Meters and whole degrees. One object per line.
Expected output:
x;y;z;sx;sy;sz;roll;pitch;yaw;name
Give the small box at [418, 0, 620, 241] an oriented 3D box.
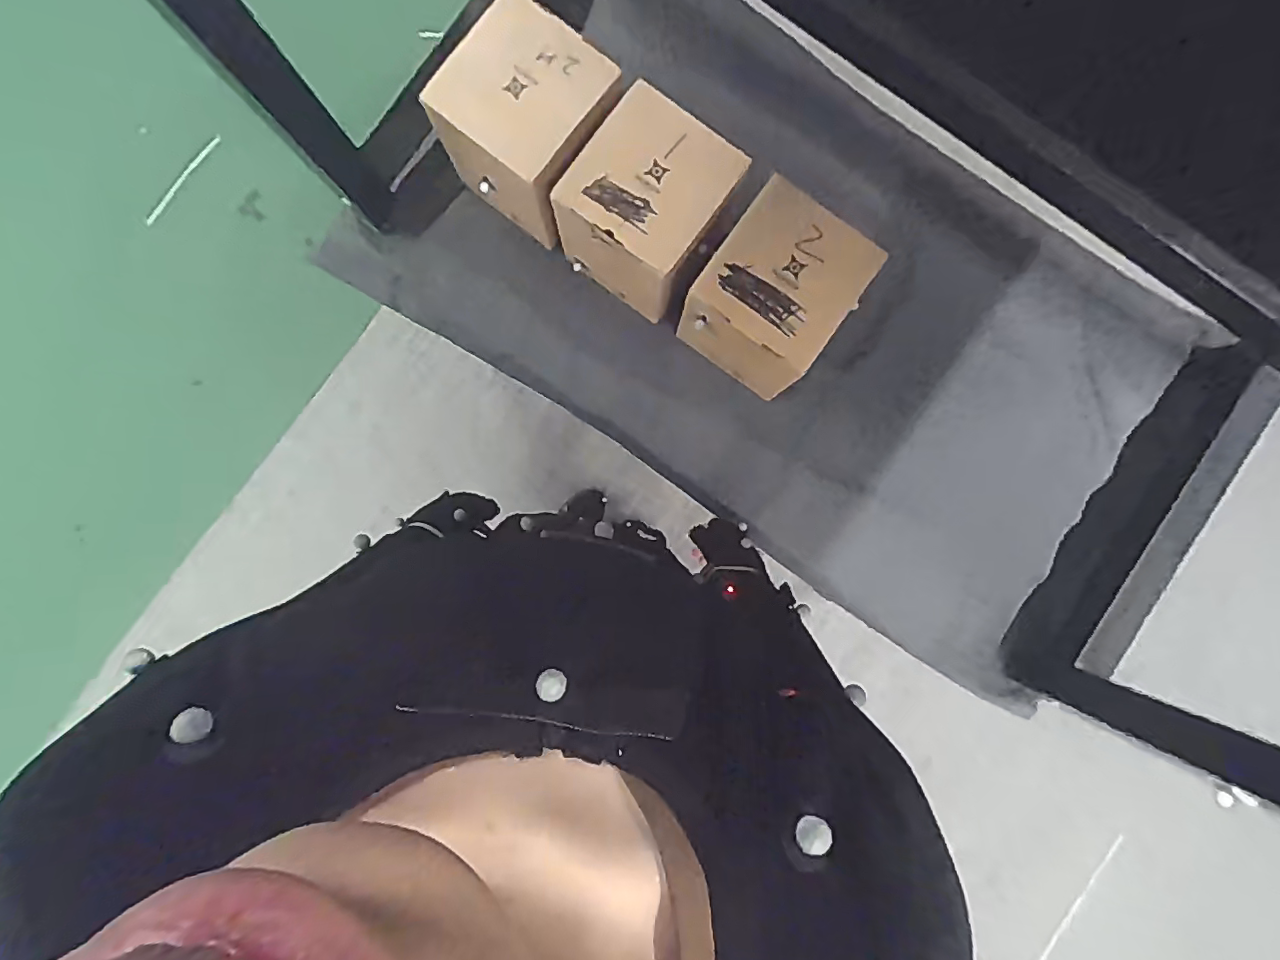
-0.138;-0.447;0.690;0.168;0.176;0.179;38;88;-1;small box
